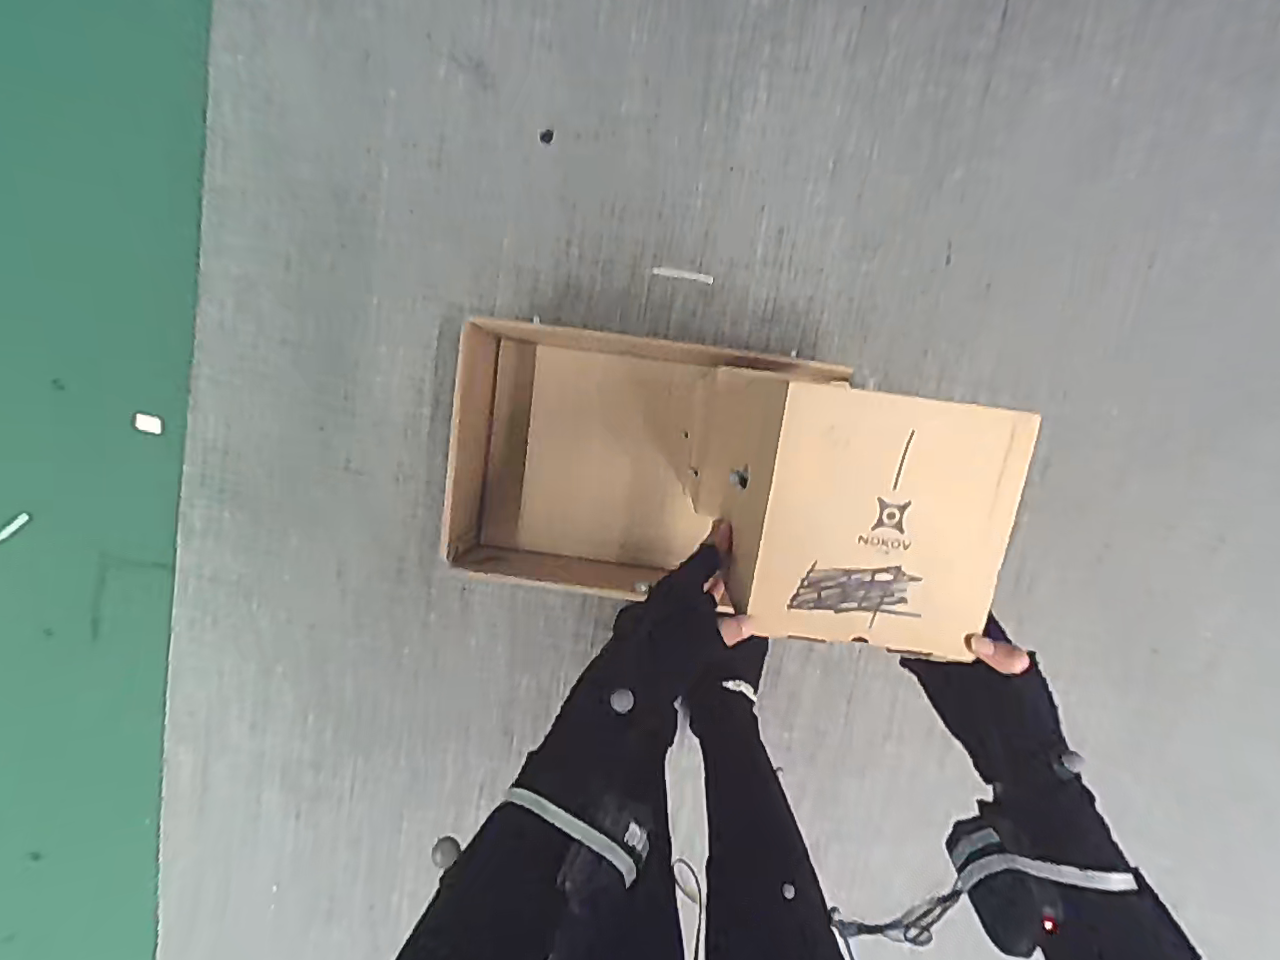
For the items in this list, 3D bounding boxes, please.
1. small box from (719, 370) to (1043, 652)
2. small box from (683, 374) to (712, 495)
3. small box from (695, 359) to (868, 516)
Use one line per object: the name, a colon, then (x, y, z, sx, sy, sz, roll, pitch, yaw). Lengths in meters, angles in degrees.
small box: (0.164, 0.010, 0.435, 0.168, 0.176, 0.179, 7, 101, -2)
small box: (0.157, -0.069, 0.856, 0.168, 0.176, 0.179, 4, 97, 4)
small box: (0.162, -0.046, 0.675, 0.168, 0.176, 0.179, 8, 98, 2)
